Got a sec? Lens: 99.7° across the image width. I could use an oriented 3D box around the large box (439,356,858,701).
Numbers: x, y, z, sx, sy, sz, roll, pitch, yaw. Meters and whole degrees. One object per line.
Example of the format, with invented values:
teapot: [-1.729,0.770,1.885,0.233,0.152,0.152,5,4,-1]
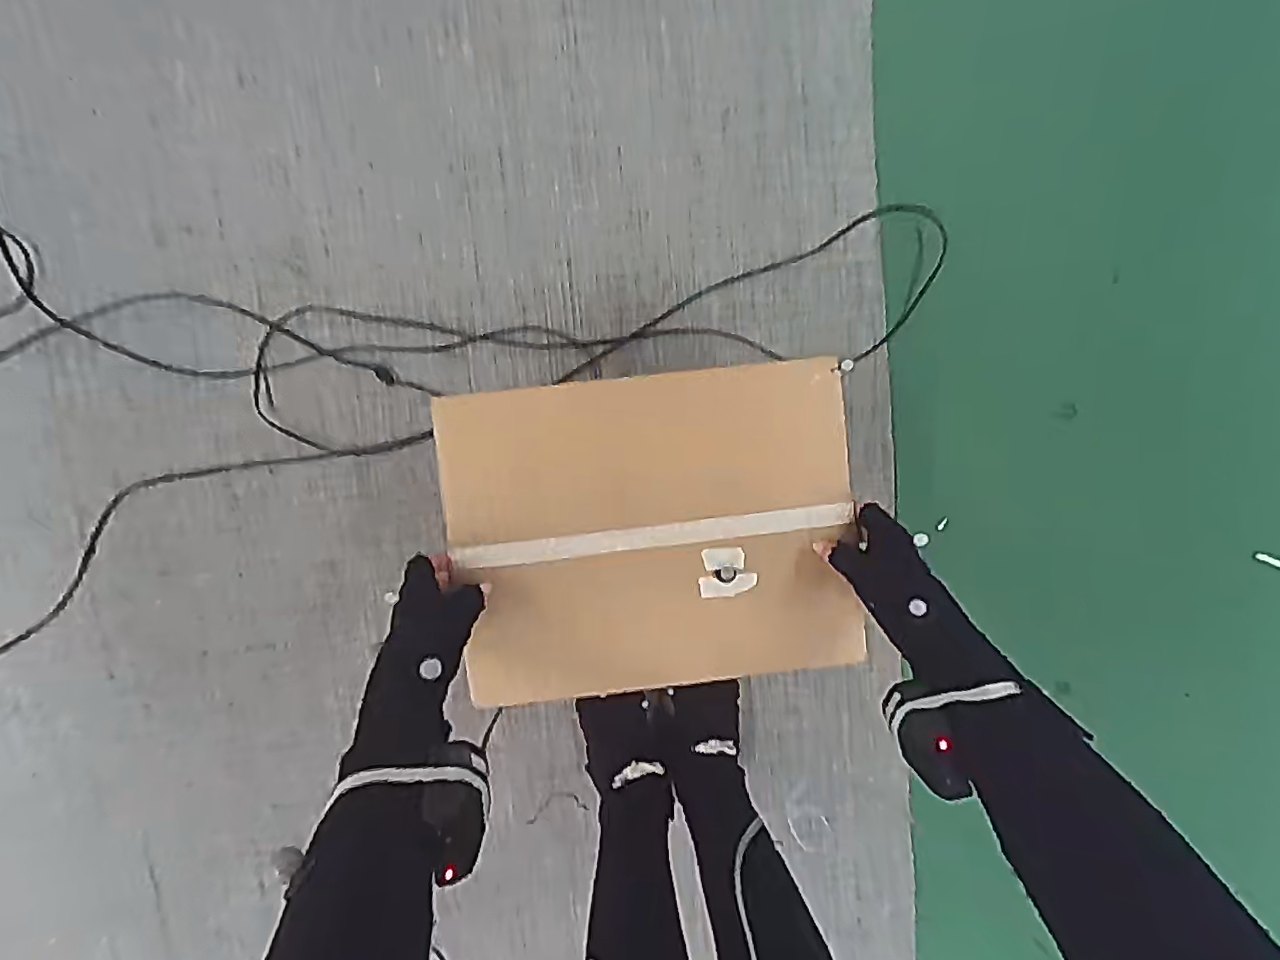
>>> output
large box: [0.007,0.042,0.698,0.408,0.320,0.320,-7,95,-2]
